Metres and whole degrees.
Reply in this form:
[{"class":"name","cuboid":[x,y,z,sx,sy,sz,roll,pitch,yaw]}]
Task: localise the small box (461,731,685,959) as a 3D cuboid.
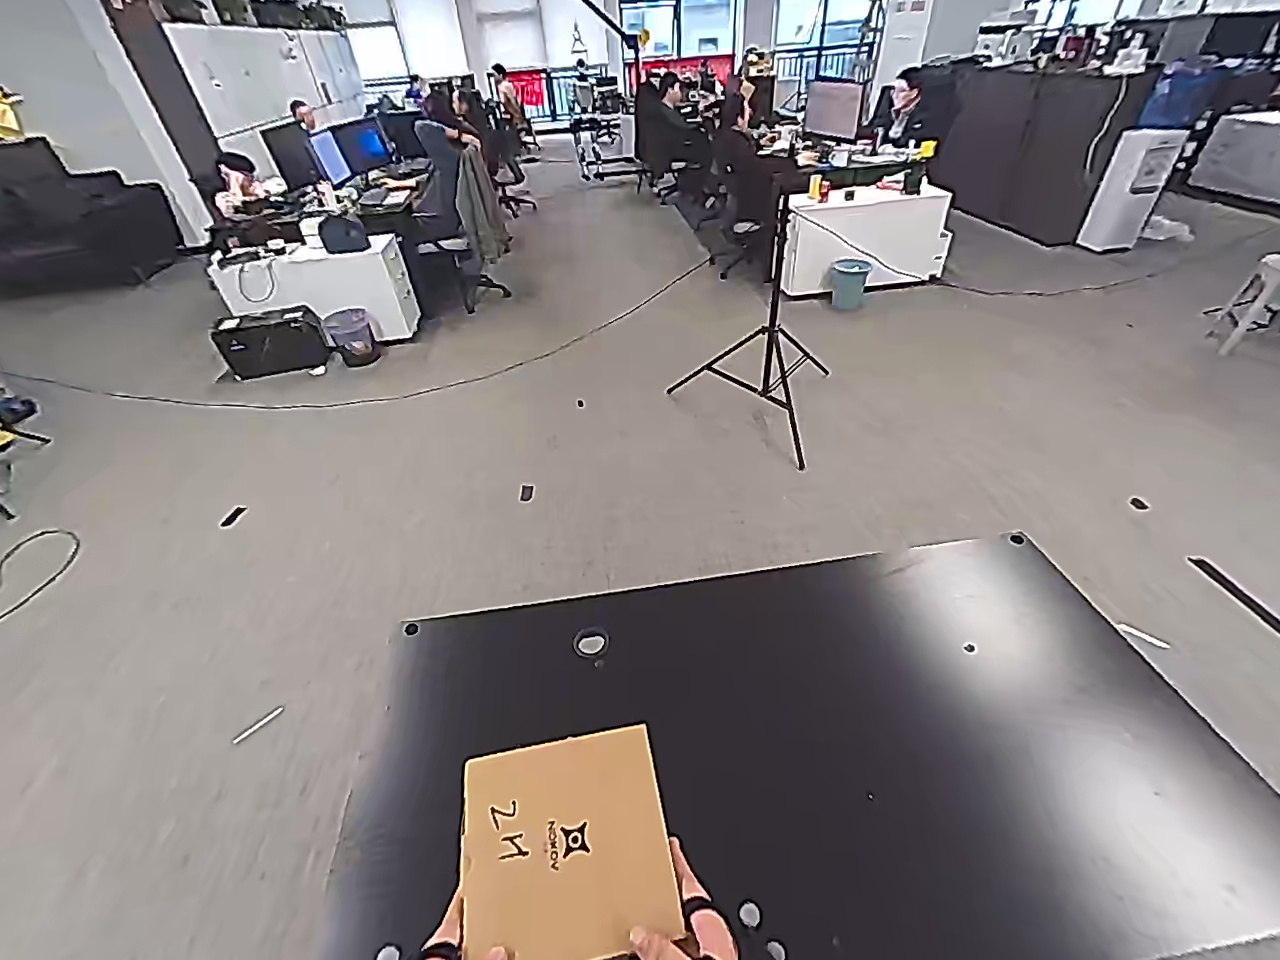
[{"class":"small box","cuboid":[-0.063,0.369,0.523,0.179,0.176,0.168,-9,46,-7]}]
